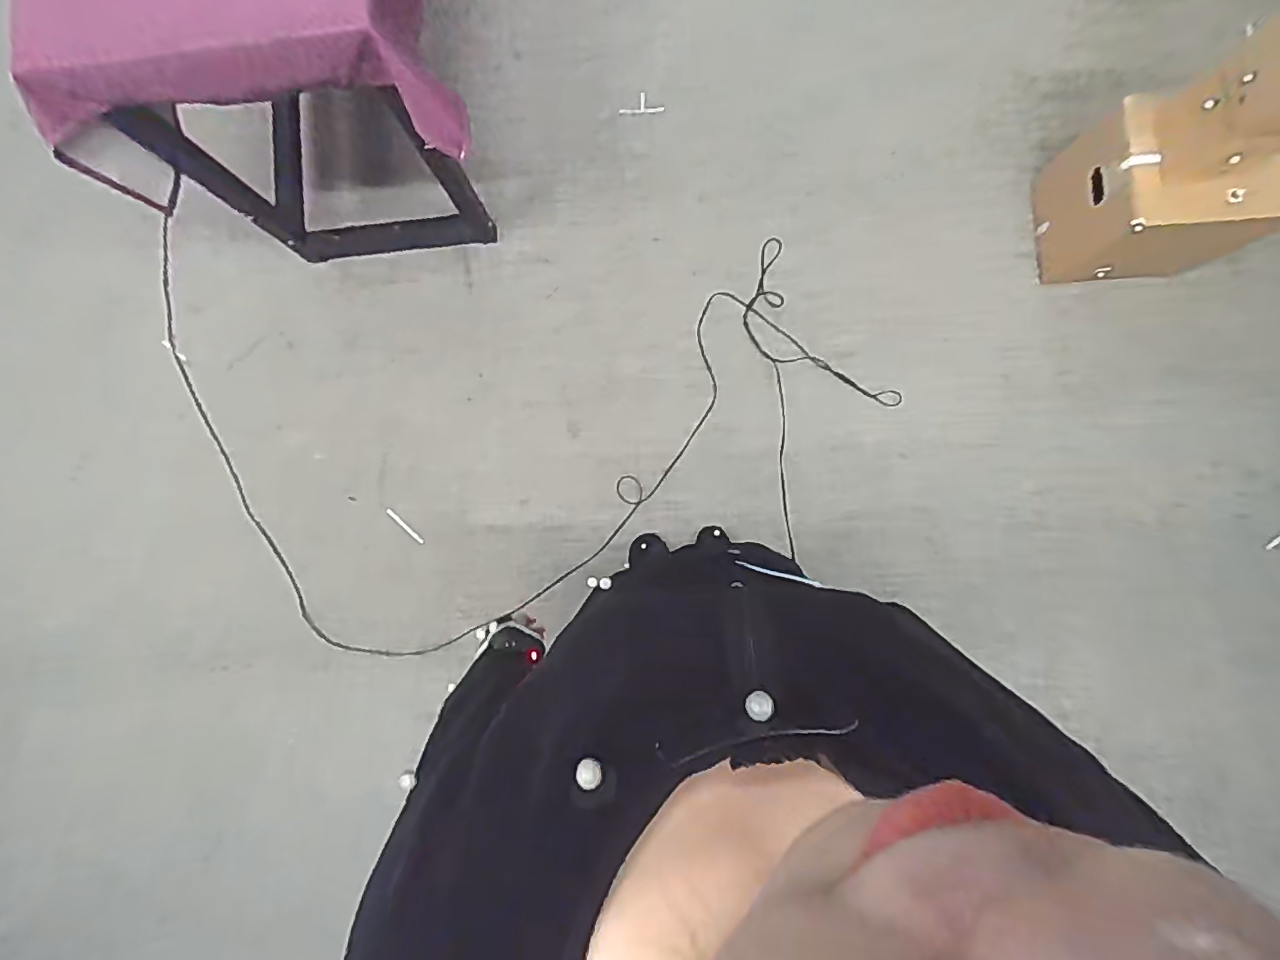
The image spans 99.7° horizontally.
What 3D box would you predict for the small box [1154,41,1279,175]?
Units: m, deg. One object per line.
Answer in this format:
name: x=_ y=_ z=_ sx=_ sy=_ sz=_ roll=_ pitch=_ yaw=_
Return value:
small box: x=1.243 y=-0.769 z=1.135 sx=0.168 sy=0.176 sz=0.179 roll=-5 pitch=86 yaw=2
